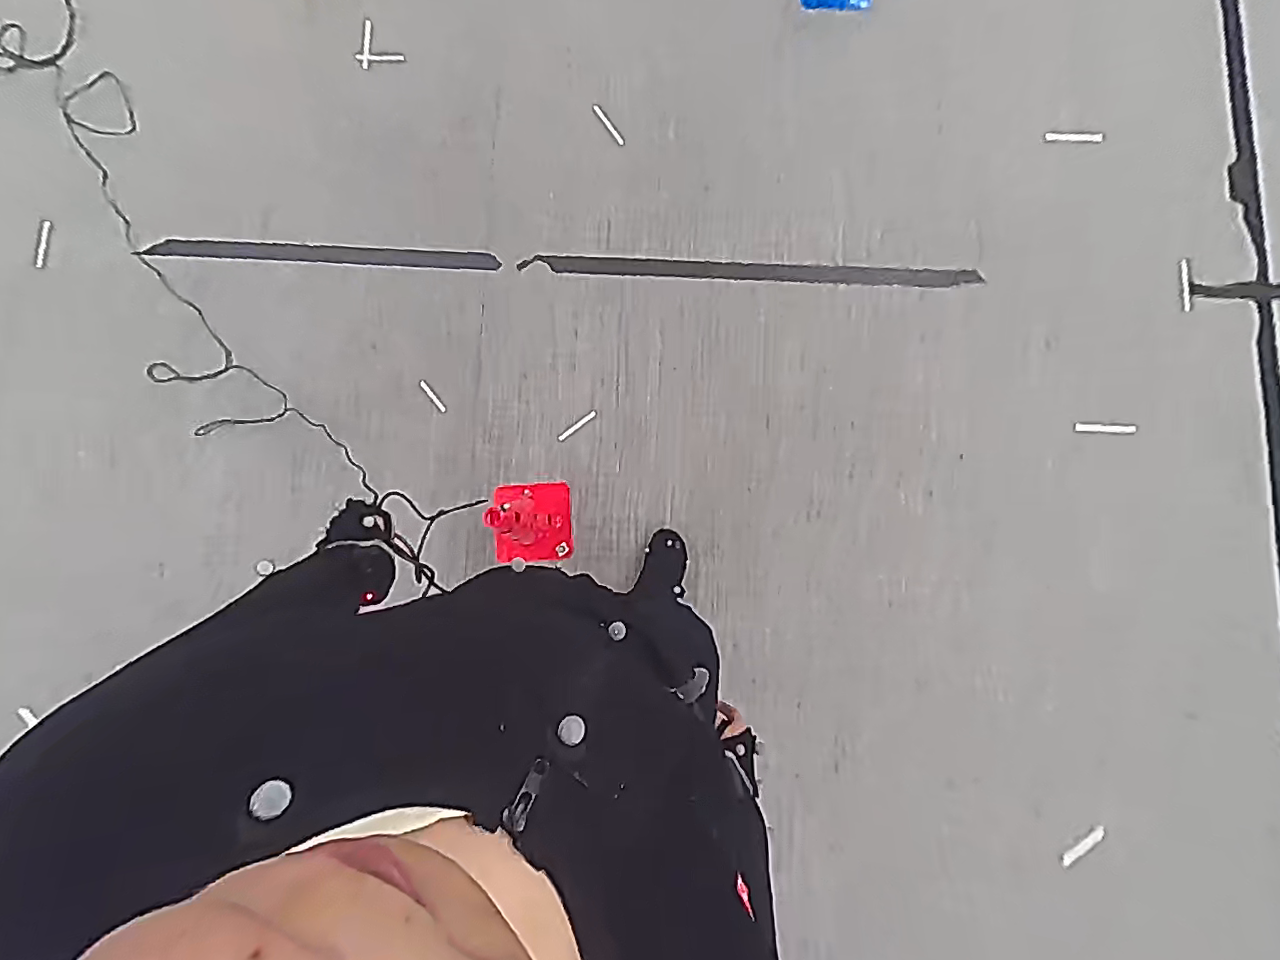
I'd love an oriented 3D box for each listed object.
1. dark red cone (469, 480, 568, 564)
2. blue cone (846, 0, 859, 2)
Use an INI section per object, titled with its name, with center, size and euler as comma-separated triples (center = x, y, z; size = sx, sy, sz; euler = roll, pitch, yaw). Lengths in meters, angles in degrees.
[dark red cone]
center = -0.286, 0.084, 1.190
size = 0.202, 0.394, 0.201
euler = -5, 82, 1
[blue cone]
center = 0.548, -1.457, 1.364
size = 0.193, 0.380, 0.192
euler = 3, 83, 2
